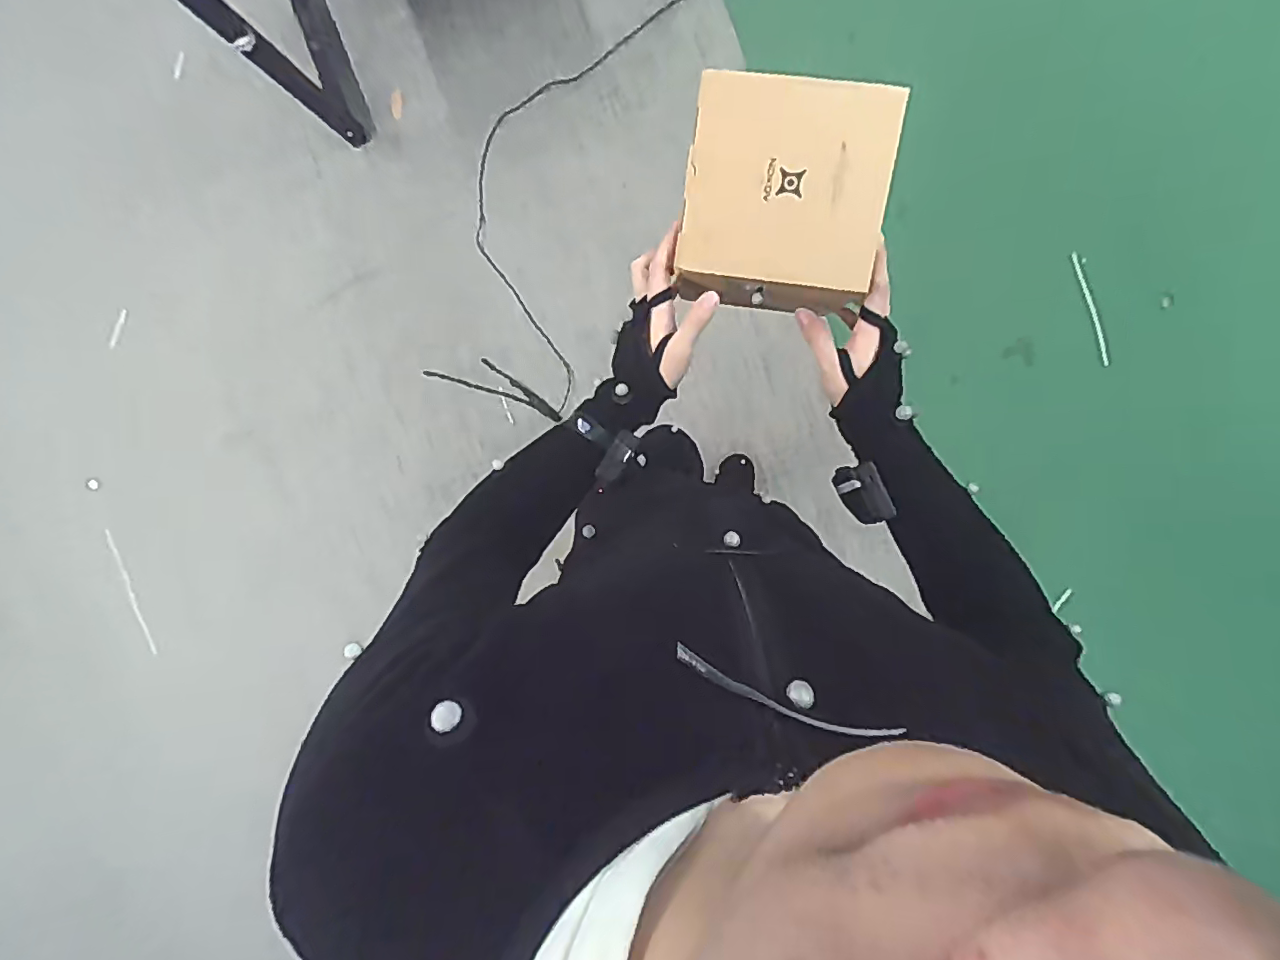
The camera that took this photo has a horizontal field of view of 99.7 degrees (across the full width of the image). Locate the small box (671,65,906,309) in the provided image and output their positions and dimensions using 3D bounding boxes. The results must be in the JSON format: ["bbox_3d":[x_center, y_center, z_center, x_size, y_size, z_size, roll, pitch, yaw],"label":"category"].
[{"bbox_3d":[0.134,-0.276,0.546,0.179,0.176,0.168,9,101,5],"label":"small box"}]
